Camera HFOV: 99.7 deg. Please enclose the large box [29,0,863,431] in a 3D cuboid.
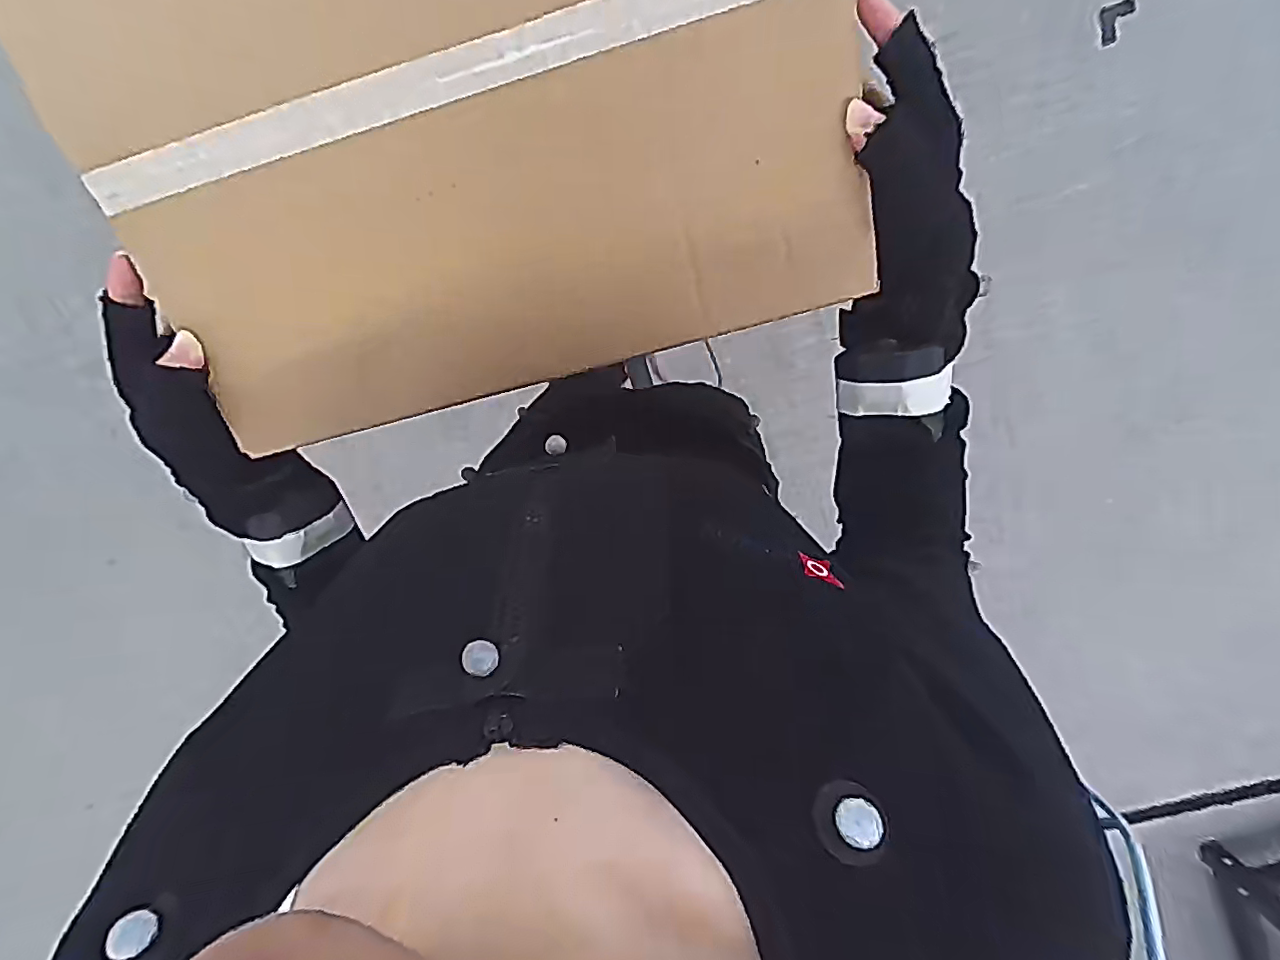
[{"bbox_3d":[-0.099,-0.269,0.423,0.408,0.320,0.320,-14,112,6],"label":"large box"}]
